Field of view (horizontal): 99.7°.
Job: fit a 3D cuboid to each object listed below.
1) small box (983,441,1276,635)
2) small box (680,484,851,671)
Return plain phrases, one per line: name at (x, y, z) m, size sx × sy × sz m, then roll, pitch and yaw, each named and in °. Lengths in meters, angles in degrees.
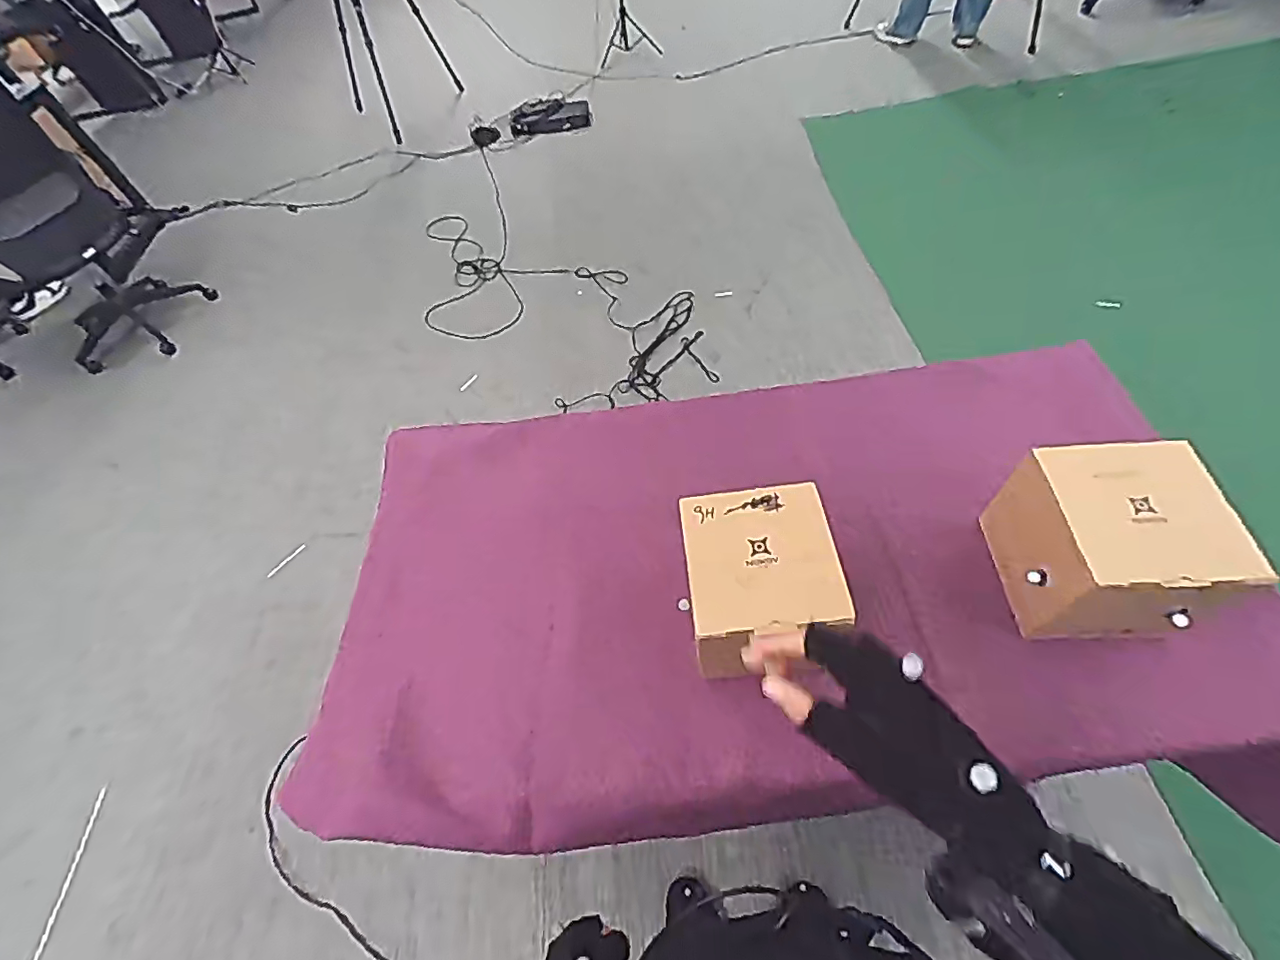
small box at (0.545, 0.076, 0.640) m, size 0.168 × 0.176 × 0.179 m, roll -2°, pitch 55°, yaw 7°
small box at (0.144, 0.129, 0.668) m, size 0.168 × 0.176 × 0.179 m, roll -7°, pitch 55°, yaw 4°
